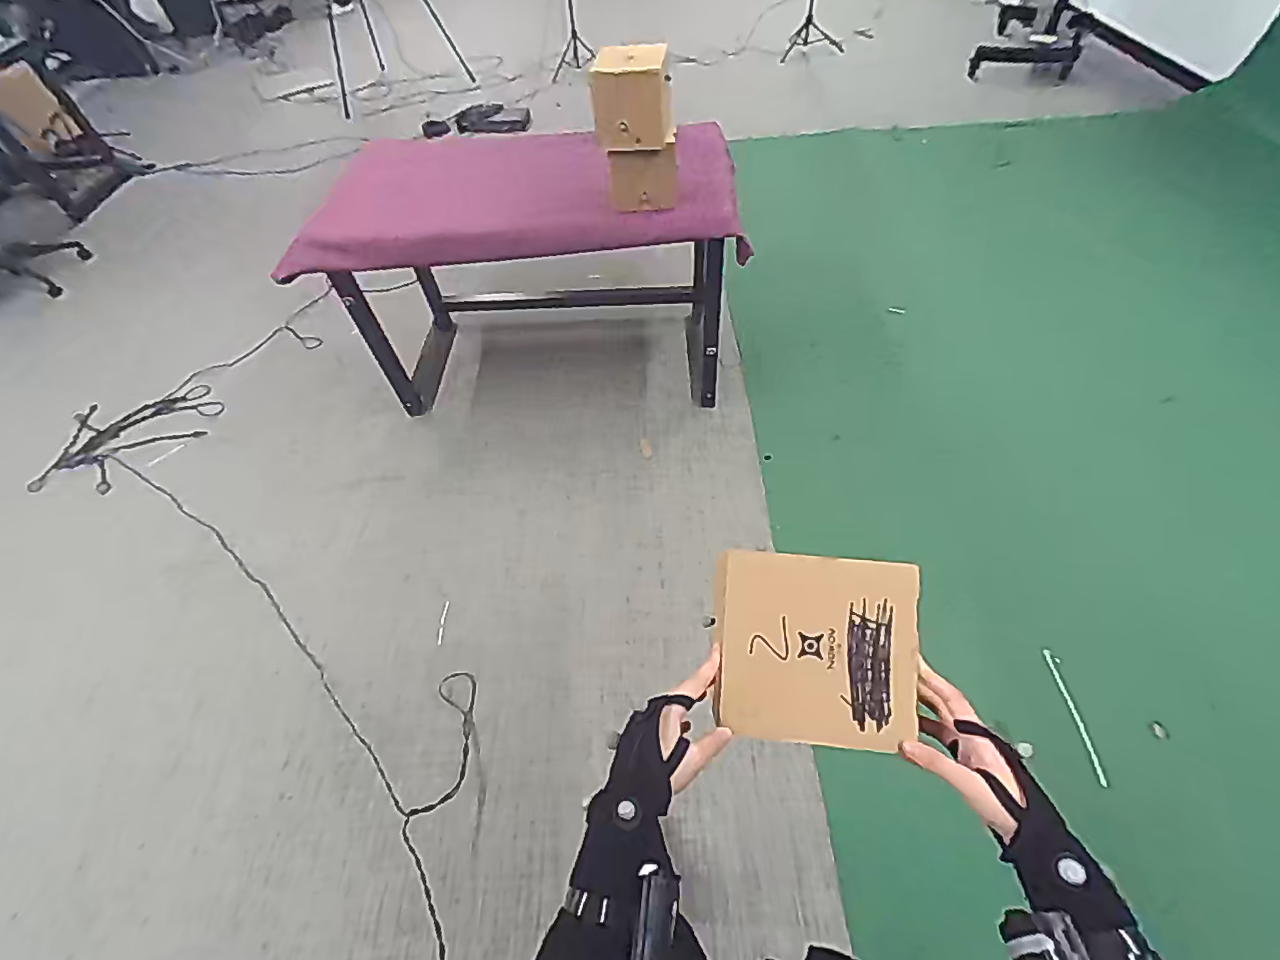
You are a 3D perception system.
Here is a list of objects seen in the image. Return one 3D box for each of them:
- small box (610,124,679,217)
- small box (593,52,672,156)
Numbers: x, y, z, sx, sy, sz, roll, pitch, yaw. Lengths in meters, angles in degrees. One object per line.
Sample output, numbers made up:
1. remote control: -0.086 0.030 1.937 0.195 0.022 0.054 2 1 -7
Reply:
1. small box: 0.017 -0.841 1.474 0.179 0.176 0.168 -3 51 4
2. small box: -0.010 -0.924 1.334 0.168 0.176 0.179 3 54 9
